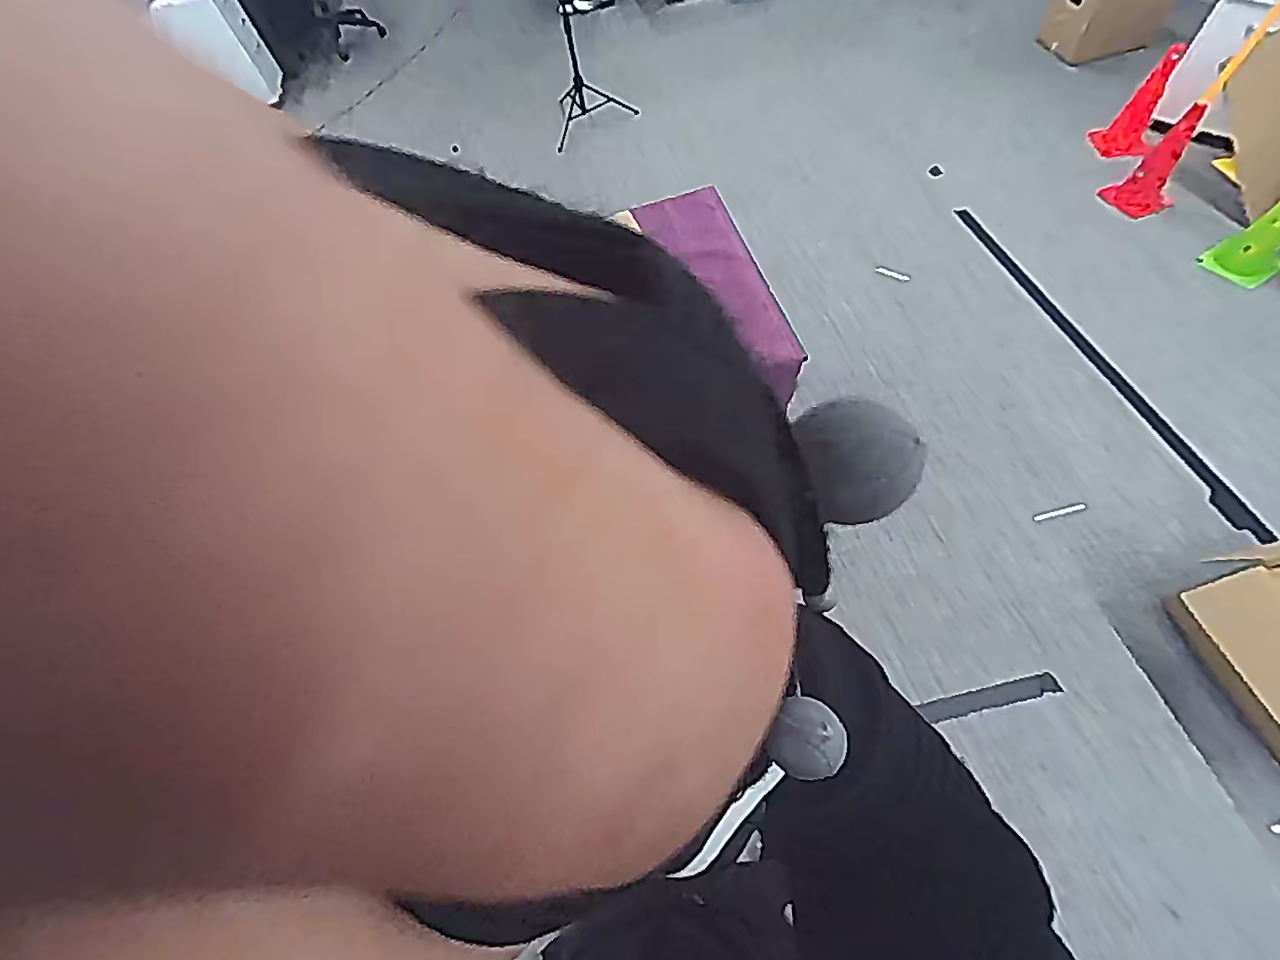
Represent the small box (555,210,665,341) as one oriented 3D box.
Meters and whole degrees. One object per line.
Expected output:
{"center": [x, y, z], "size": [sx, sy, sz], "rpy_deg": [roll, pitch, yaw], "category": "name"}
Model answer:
{"center": [-0.056, -0.409, 1.111], "size": [0.168, 0.176, 0.179], "rpy_deg": [-21, 60, -4], "category": "small box"}
